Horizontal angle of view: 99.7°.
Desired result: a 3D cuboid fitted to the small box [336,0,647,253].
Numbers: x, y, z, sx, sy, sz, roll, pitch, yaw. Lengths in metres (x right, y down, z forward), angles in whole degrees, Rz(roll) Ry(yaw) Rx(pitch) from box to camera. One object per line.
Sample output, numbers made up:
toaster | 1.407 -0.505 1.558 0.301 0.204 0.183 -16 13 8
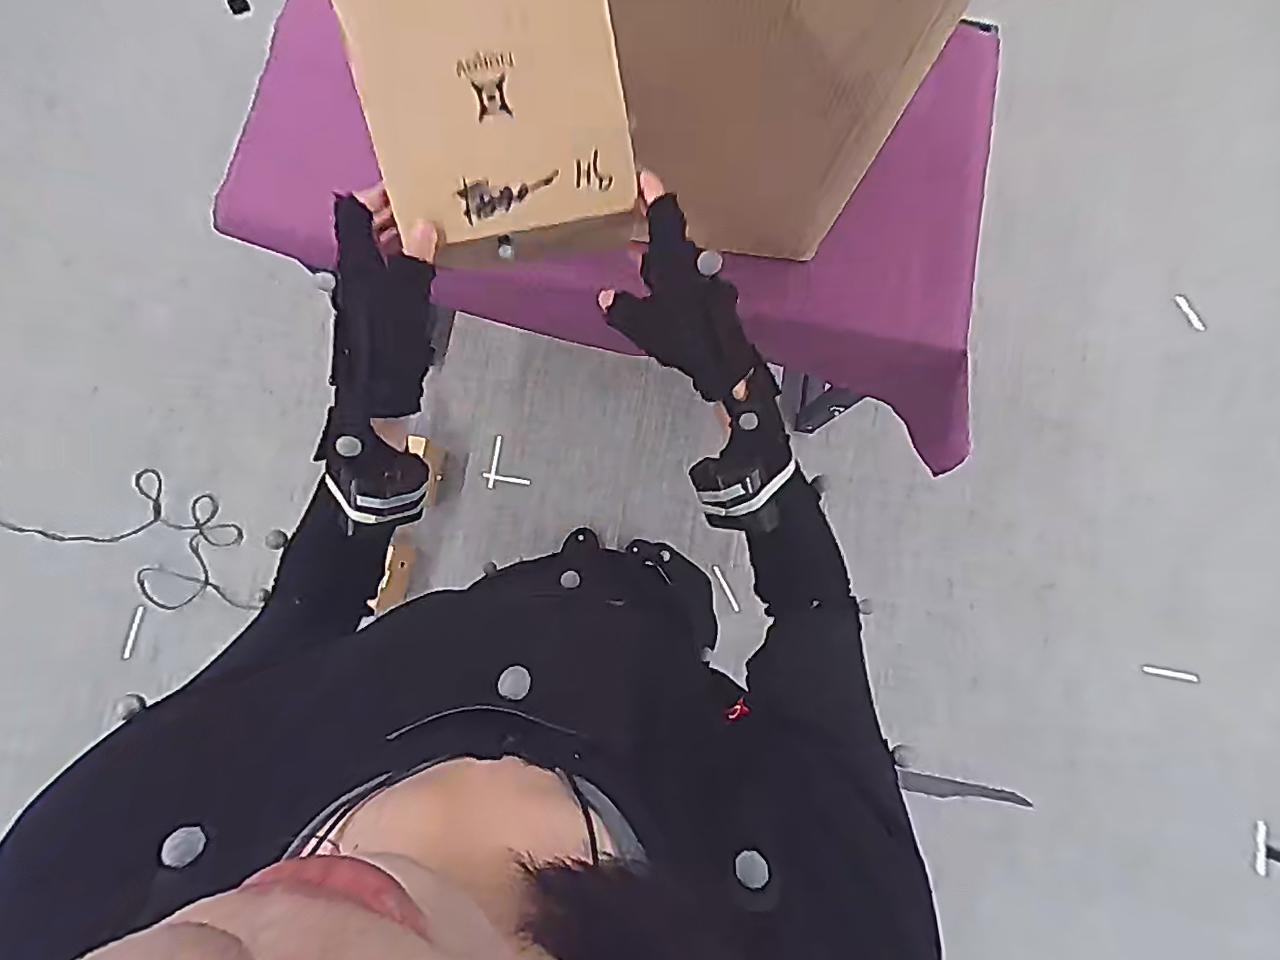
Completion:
small box | -0.093 -0.279 0.396 0.168 0.176 0.179 -10 108 0

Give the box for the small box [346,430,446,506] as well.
small box | -0.650 -0.027 1.457 0.179 0.176 0.168 9 82 0

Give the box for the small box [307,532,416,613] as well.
small box | -0.720 0.240 1.422 0.179 0.176 0.168 15 81 2
